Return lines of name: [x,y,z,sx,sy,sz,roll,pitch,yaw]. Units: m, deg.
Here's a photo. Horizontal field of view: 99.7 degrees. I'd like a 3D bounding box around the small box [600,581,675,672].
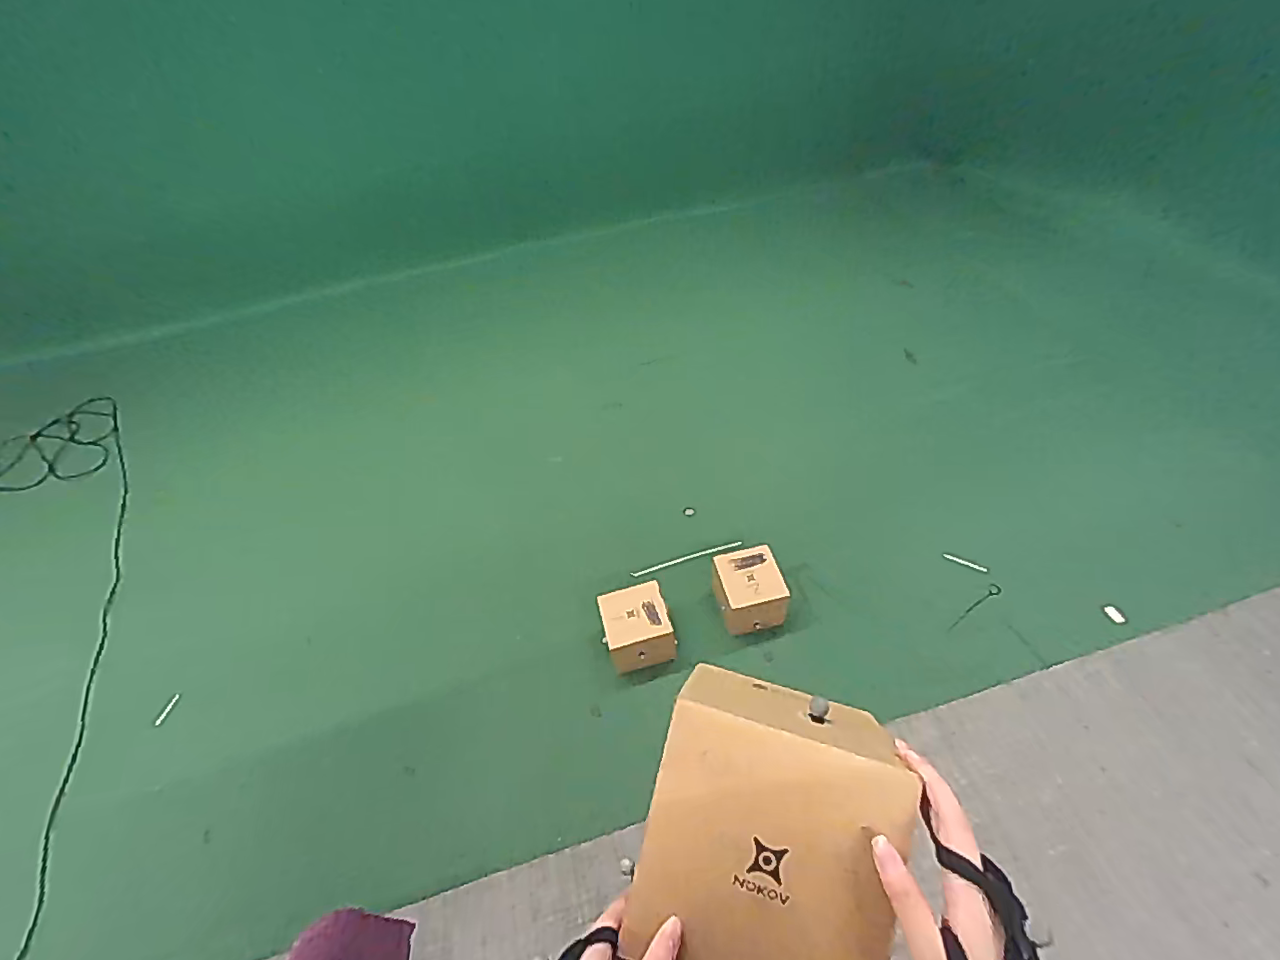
small box: [-0.003,0.414,1.518,0.179,0.176,0.168,-15,48,-5]
